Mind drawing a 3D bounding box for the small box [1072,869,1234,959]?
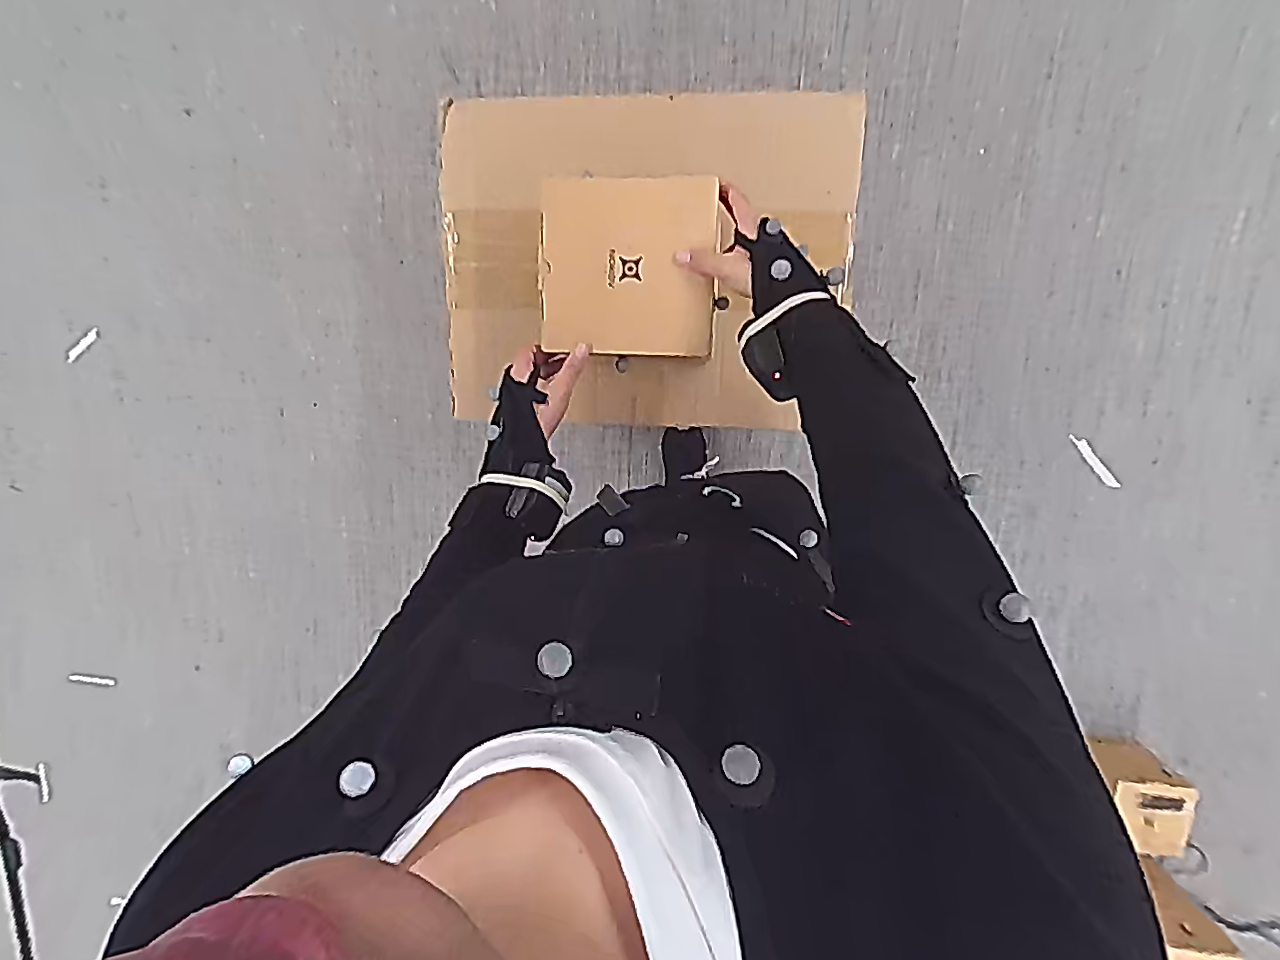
[{"bbox_3d":[1.093,0.985,1.167,0.179,0.176,0.168,3,99,6],"label":"small box"}]
